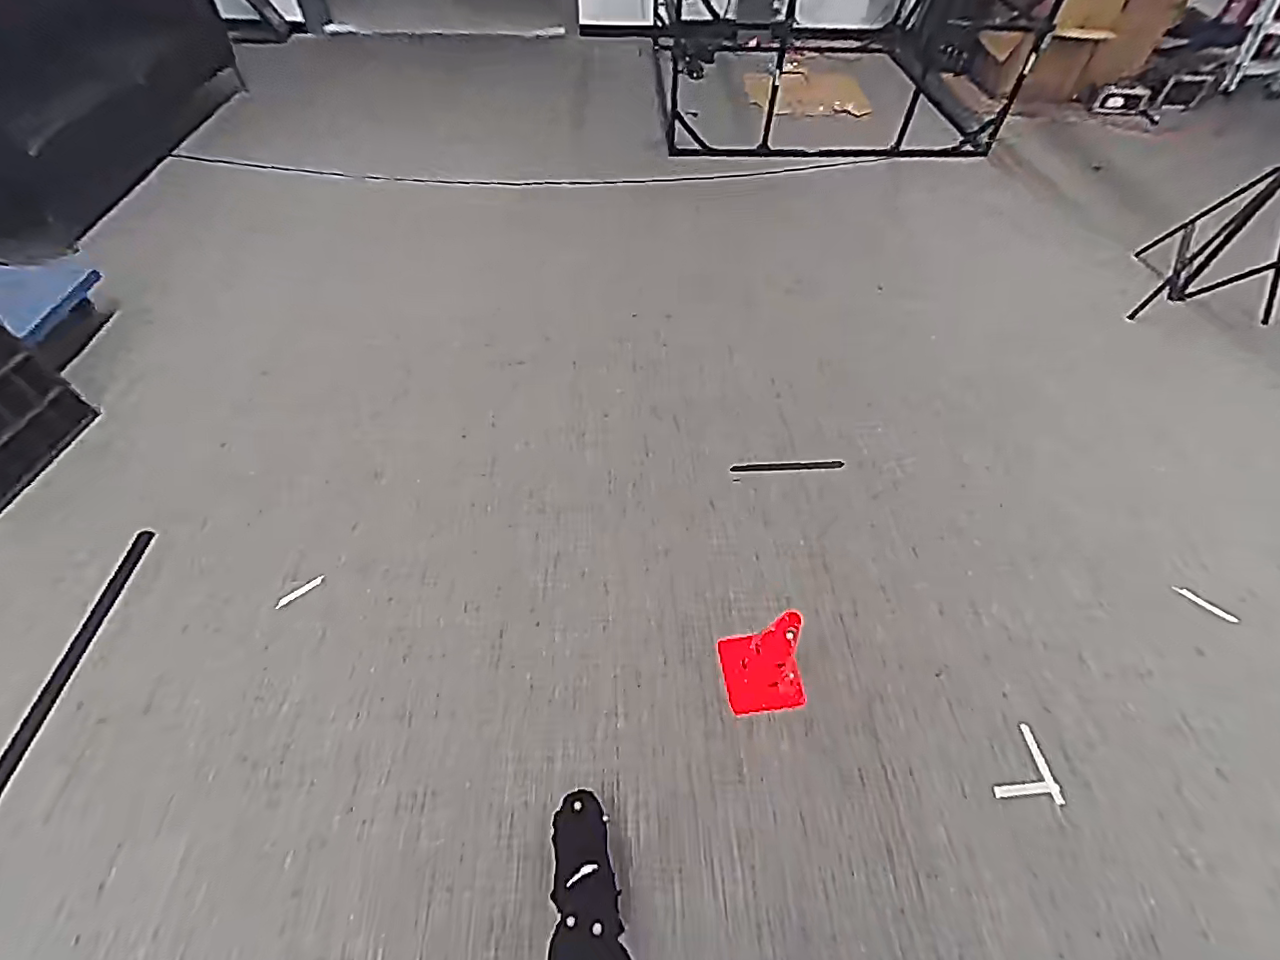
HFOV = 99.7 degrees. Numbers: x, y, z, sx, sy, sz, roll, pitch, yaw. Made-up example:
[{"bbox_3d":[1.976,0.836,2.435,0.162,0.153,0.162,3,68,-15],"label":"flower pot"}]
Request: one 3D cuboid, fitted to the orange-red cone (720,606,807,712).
[{"bbox_3d":[0.318,0.391,1.274,0.199,0.360,0.198,-6,52,-4],"label":"orange-red cone"}]
